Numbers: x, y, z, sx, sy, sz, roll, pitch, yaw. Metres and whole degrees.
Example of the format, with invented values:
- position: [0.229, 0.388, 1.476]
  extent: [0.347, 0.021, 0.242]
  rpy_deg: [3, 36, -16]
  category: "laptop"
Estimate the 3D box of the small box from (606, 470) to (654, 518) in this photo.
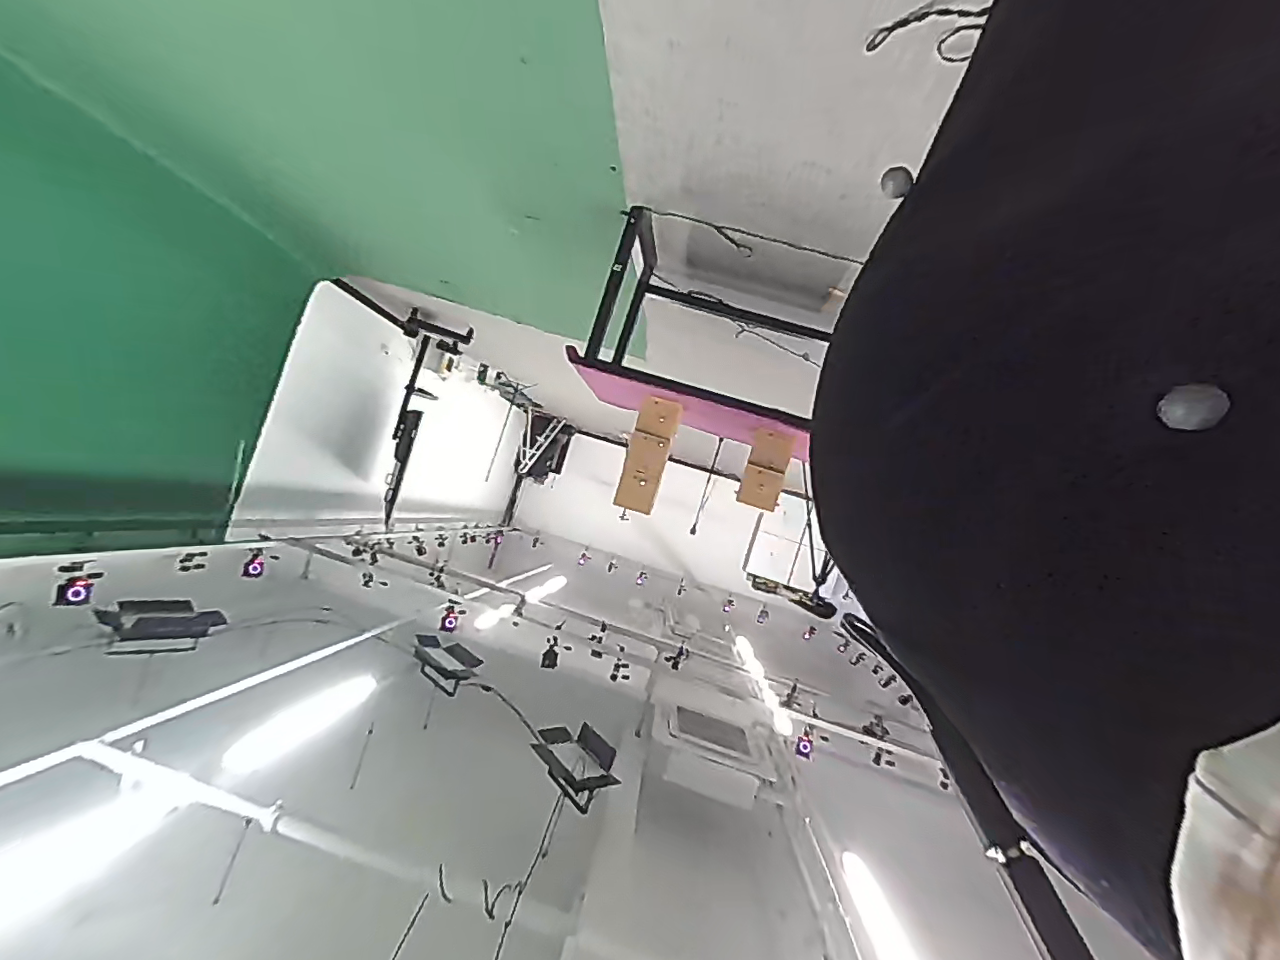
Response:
- position: [-0.038, 0.059, 2.344]
  extent: [0.168, 0.176, 0.179]
  rpy_deg: [17, 178, 4]
  category: "small box"

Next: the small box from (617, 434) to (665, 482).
- position: [0.008, -0.098, 2.343]
  extent: [0.168, 0.176, 0.179]
  rpy_deg: [17, 180, 5]
  category: "small box"

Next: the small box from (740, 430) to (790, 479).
- position: [0.532, -0.103, 2.312]
  extent: [0.168, 0.176, 0.179]
  rpy_deg: [17, 178, 10]
  category: "small box"

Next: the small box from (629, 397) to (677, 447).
- position: [0.059, -0.254, 2.356]
  extent: [0.168, 0.176, 0.179]
  rpy_deg: [17, 179, 7]
  category: "small box"

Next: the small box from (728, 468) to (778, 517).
- position: [0.478, 0.052, 2.287]
  extent: [0.168, 0.176, 0.179]
  rpy_deg: [18, 177, 9]
  category: "small box"
